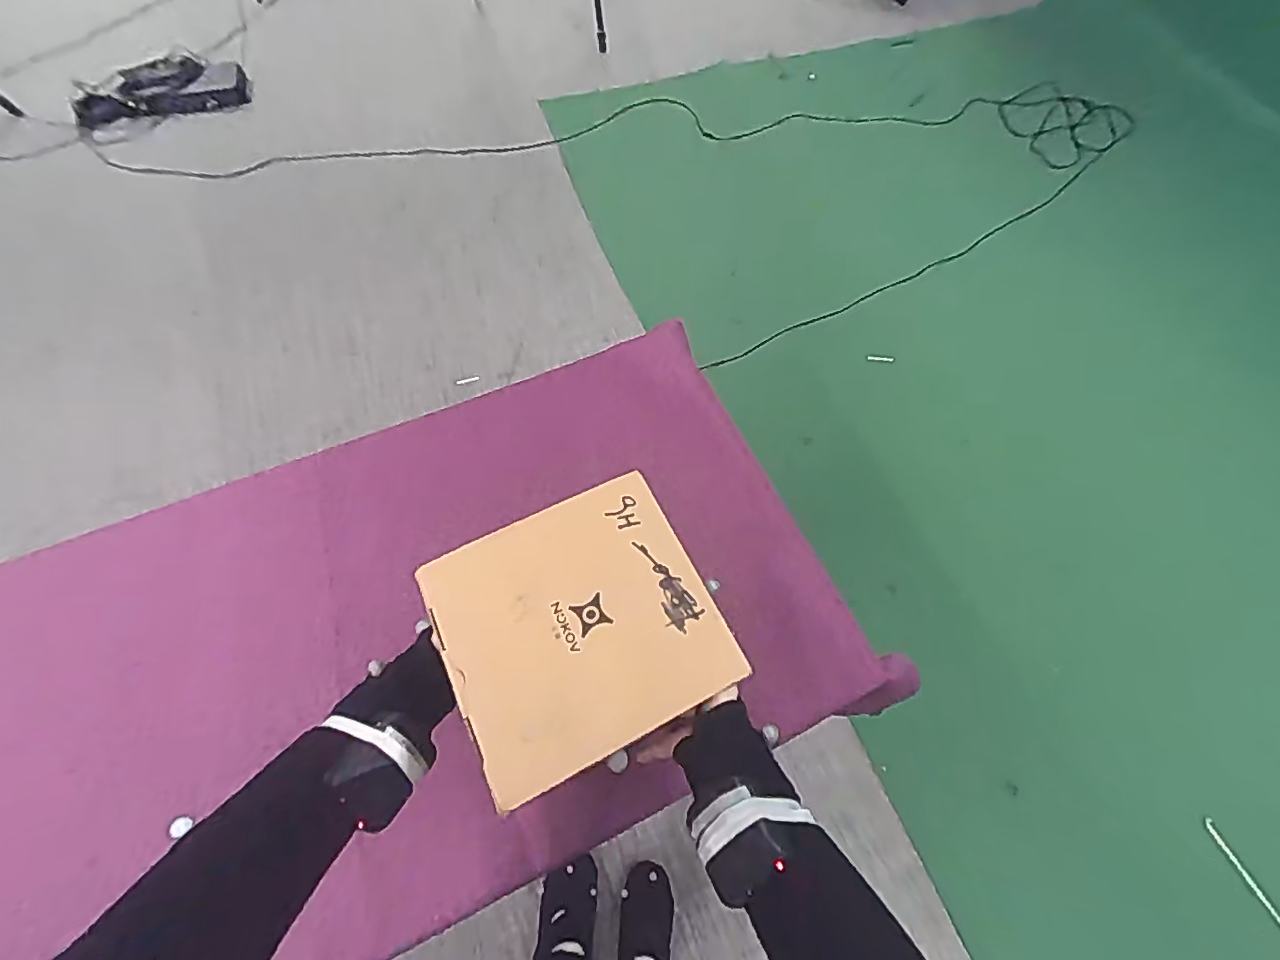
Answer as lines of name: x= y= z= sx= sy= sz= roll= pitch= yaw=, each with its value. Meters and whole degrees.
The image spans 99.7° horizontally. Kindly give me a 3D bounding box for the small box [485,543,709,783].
small box: x=-0.048 y=0.200 z=0.588 sx=0.168 sy=0.176 sz=0.179 roll=-24 pitch=67 yaw=-13
